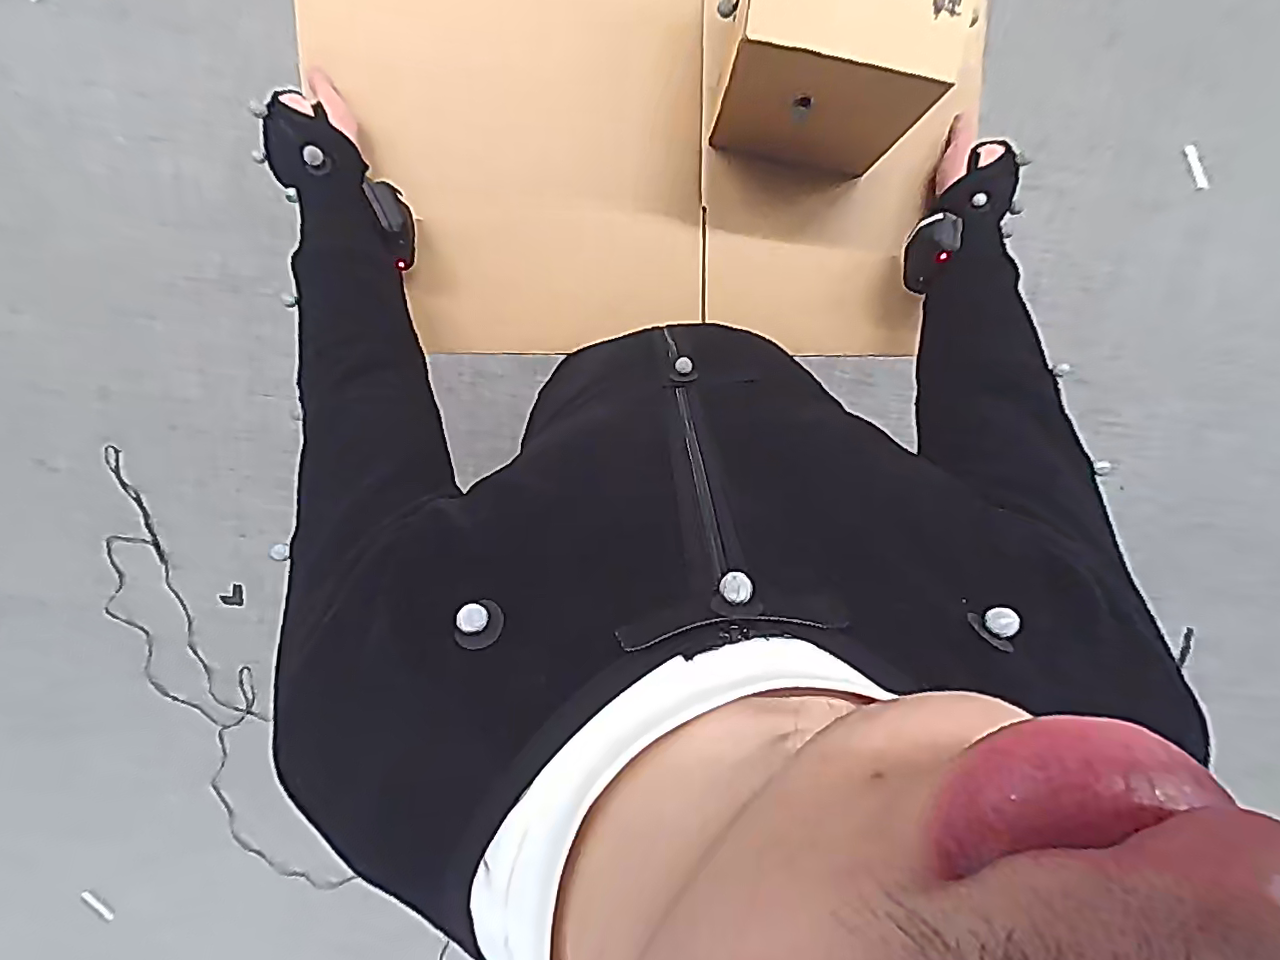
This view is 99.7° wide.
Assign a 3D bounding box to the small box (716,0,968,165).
[{"bbox_3d":[0.175,-0.420,0.498,0.179,0.176,0.168,10,98,-2],"label":"small box"}]
